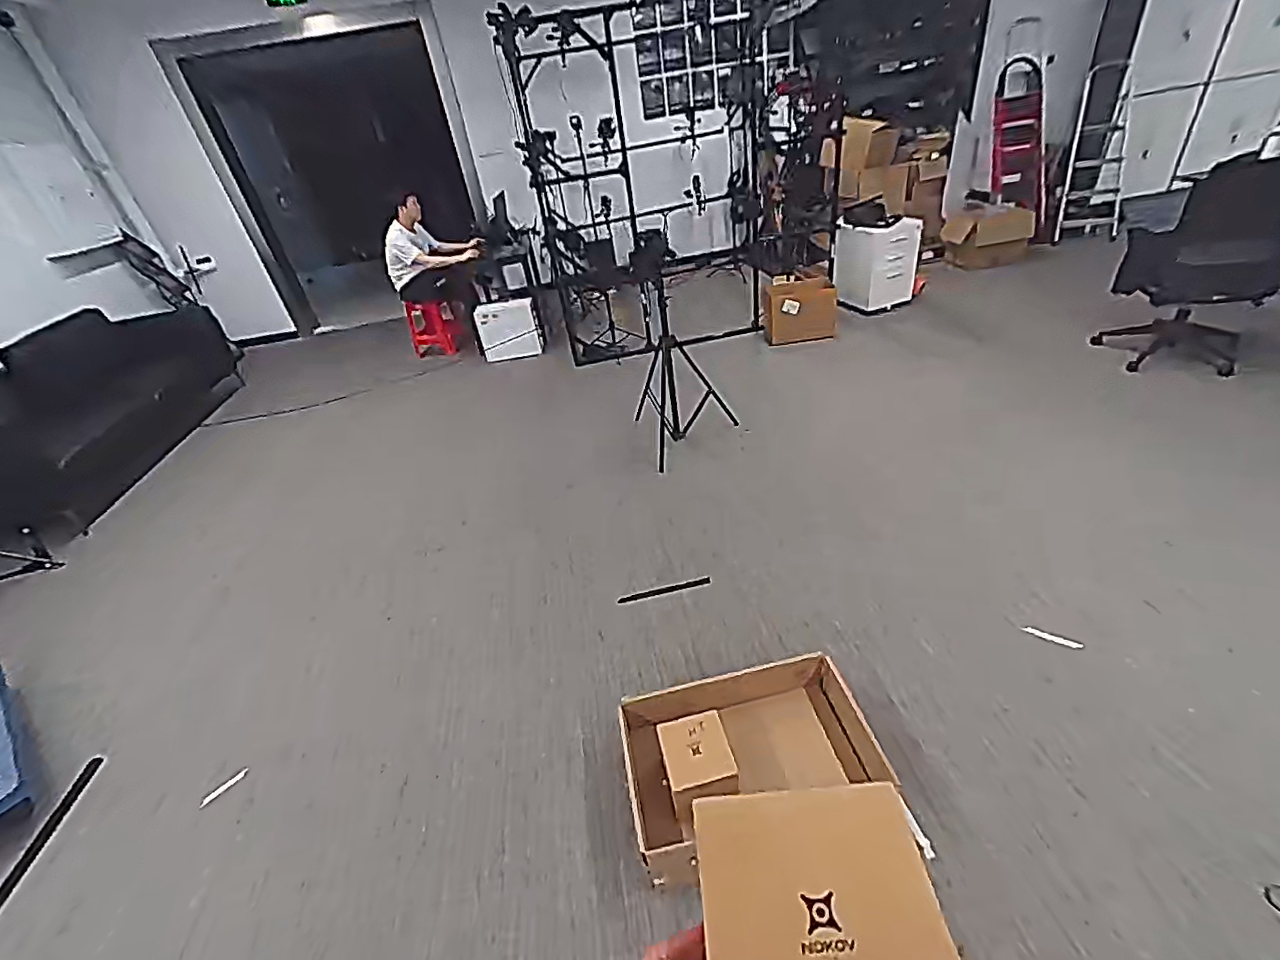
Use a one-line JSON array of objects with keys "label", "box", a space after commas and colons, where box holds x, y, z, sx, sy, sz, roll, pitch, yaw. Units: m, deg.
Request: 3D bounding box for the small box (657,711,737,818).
[{"label": "small box", "box": [0.149, 0.735, 1.388, 0.168, 0.176, 0.179, -12, 34, -6]}]

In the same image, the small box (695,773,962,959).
[{"label": "small box", "box": [0.135, 0.362, 0.422, 0.168, 0.176, 0.179, -7, 36, 3]}]
